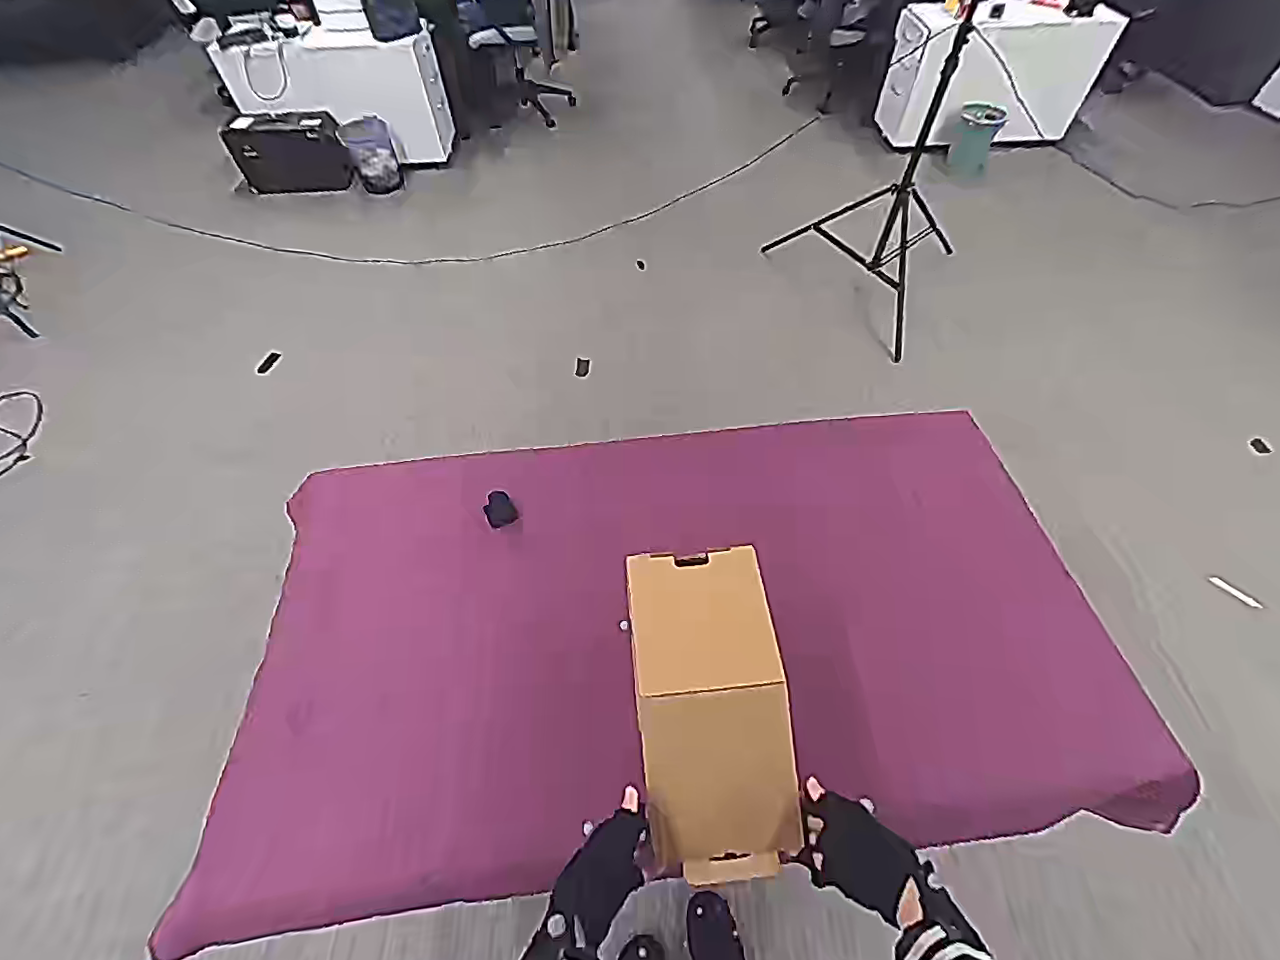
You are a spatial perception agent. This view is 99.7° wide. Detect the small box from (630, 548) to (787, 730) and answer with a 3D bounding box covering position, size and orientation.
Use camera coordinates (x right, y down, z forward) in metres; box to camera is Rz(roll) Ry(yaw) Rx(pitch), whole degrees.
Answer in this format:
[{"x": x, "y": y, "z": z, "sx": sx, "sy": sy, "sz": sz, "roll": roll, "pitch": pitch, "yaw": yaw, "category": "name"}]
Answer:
[{"x": 0.074, "y": 0.209, "z": 0.702, "sx": 0.168, "sy": 0.176, "sz": 0.179, "roll": -5, "pitch": 55, "yaw": -2, "category": "small box"}]
